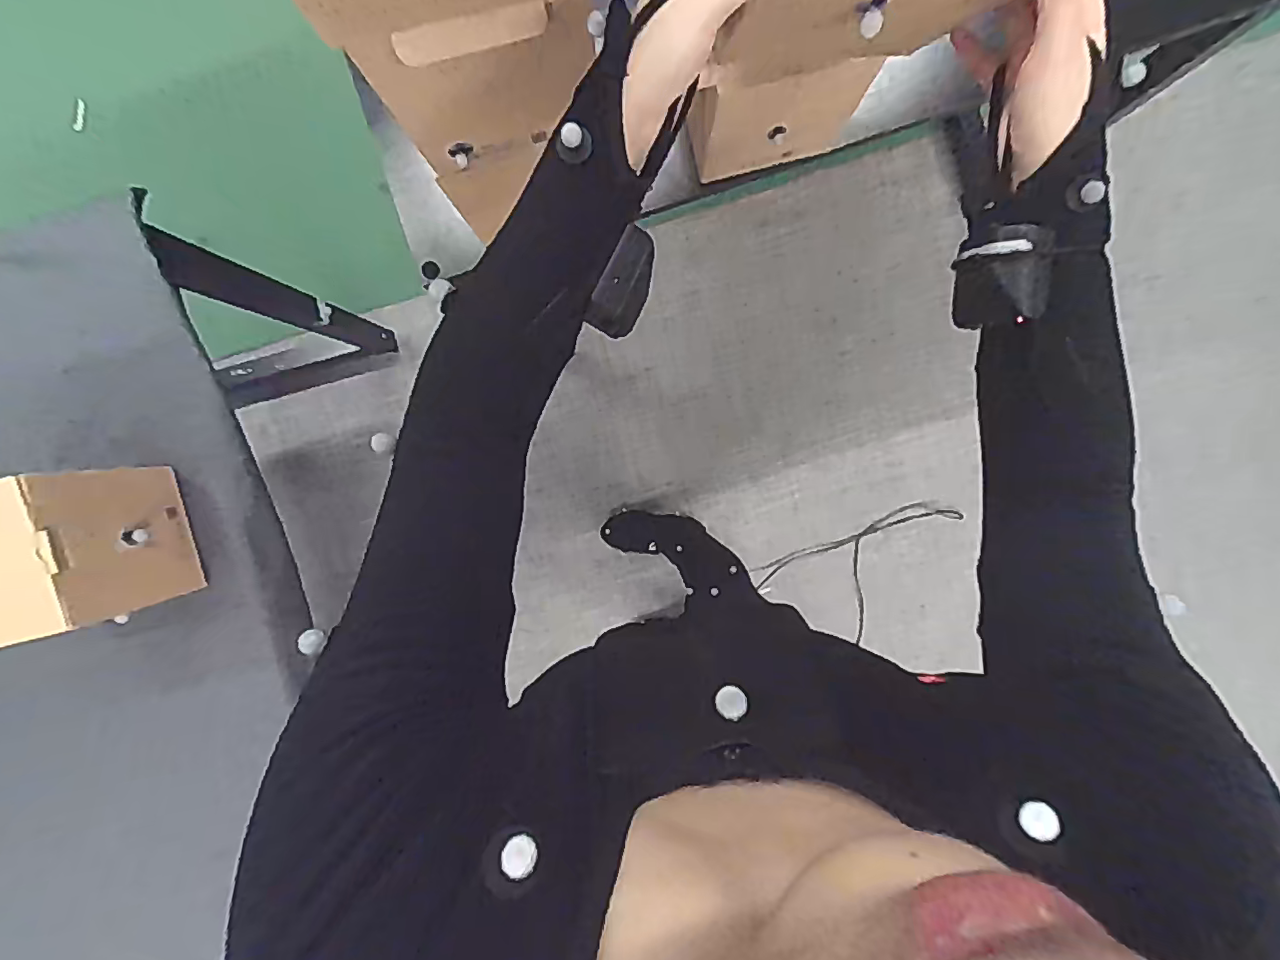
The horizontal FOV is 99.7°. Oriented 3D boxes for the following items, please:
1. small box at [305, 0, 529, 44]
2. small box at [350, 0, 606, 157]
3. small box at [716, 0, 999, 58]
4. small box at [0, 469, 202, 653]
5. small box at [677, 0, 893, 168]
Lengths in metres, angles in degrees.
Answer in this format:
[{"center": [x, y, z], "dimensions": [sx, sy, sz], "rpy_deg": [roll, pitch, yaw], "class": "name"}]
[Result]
[{"center": [-0.126, -0.365, 0.257], "dimensions": [0.179, 0.176, 0.168], "rpy_deg": [-14, 92, 2], "class": "small box"}, {"center": [-0.127, -0.384, 0.419], "dimensions": [0.168, 0.176, 0.179], "rpy_deg": [-14, 93, 1], "class": "small box"}, {"center": [0.152, -0.397, 0.348], "dimensions": [0.179, 0.176, 0.168], "rpy_deg": [-5, 115, -1], "class": "small box"}, {"center": [-0.659, 0.087, 0.625], "dimensions": [0.179, 0.176, 0.168], "rpy_deg": [-14, 94, 3], "class": "small box"}, {"center": [0.139, -0.463, 0.573], "dimensions": [0.168, 0.176, 0.179], "rpy_deg": [-14, 93, 1], "class": "small box"}]
